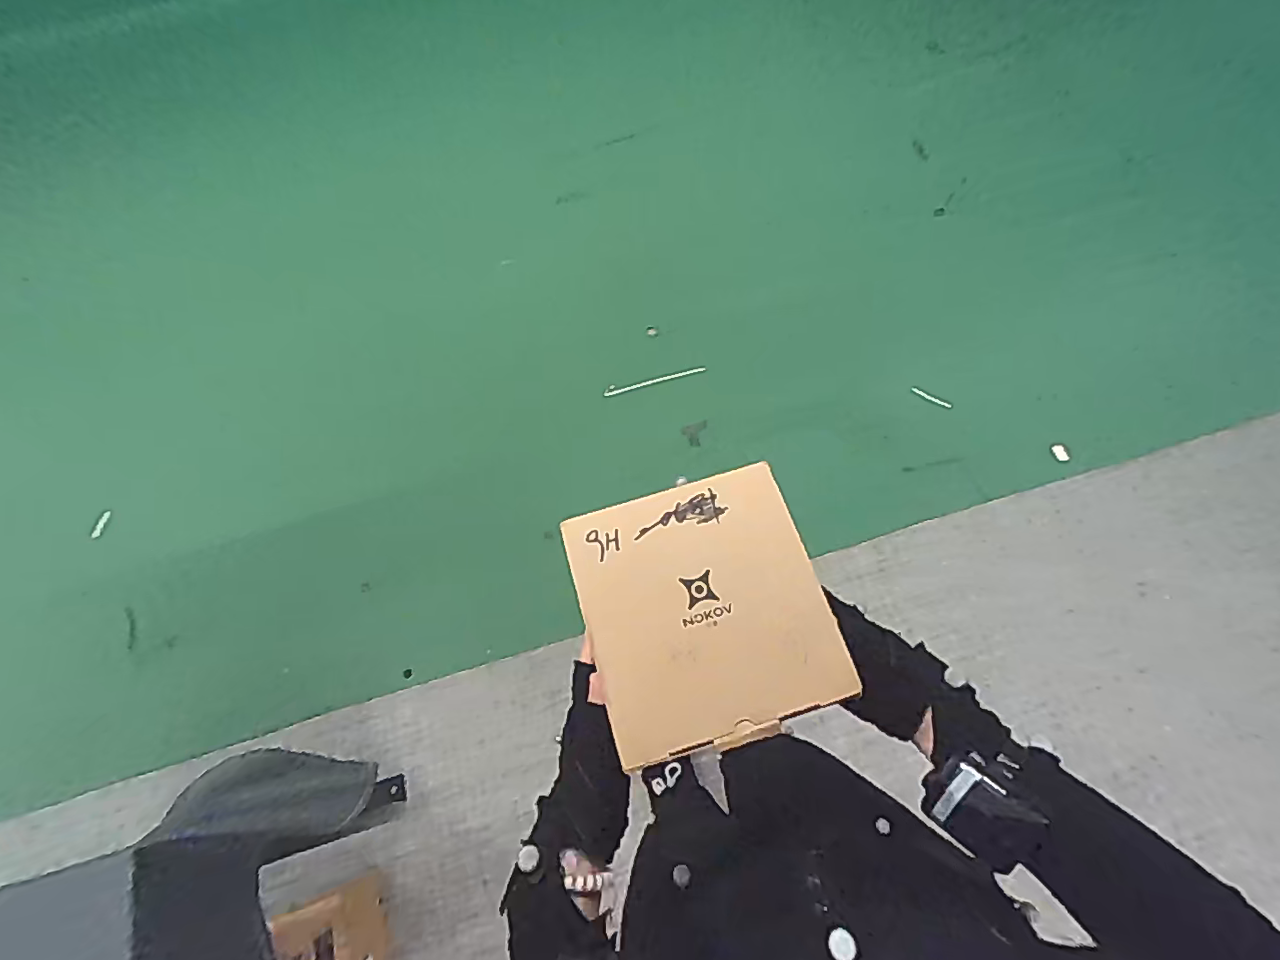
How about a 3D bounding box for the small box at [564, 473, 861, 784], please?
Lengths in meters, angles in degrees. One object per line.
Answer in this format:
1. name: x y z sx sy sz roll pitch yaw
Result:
1. small box: 0.048 0.118 0.446 0.168 0.176 0.179 -16 70 -4
